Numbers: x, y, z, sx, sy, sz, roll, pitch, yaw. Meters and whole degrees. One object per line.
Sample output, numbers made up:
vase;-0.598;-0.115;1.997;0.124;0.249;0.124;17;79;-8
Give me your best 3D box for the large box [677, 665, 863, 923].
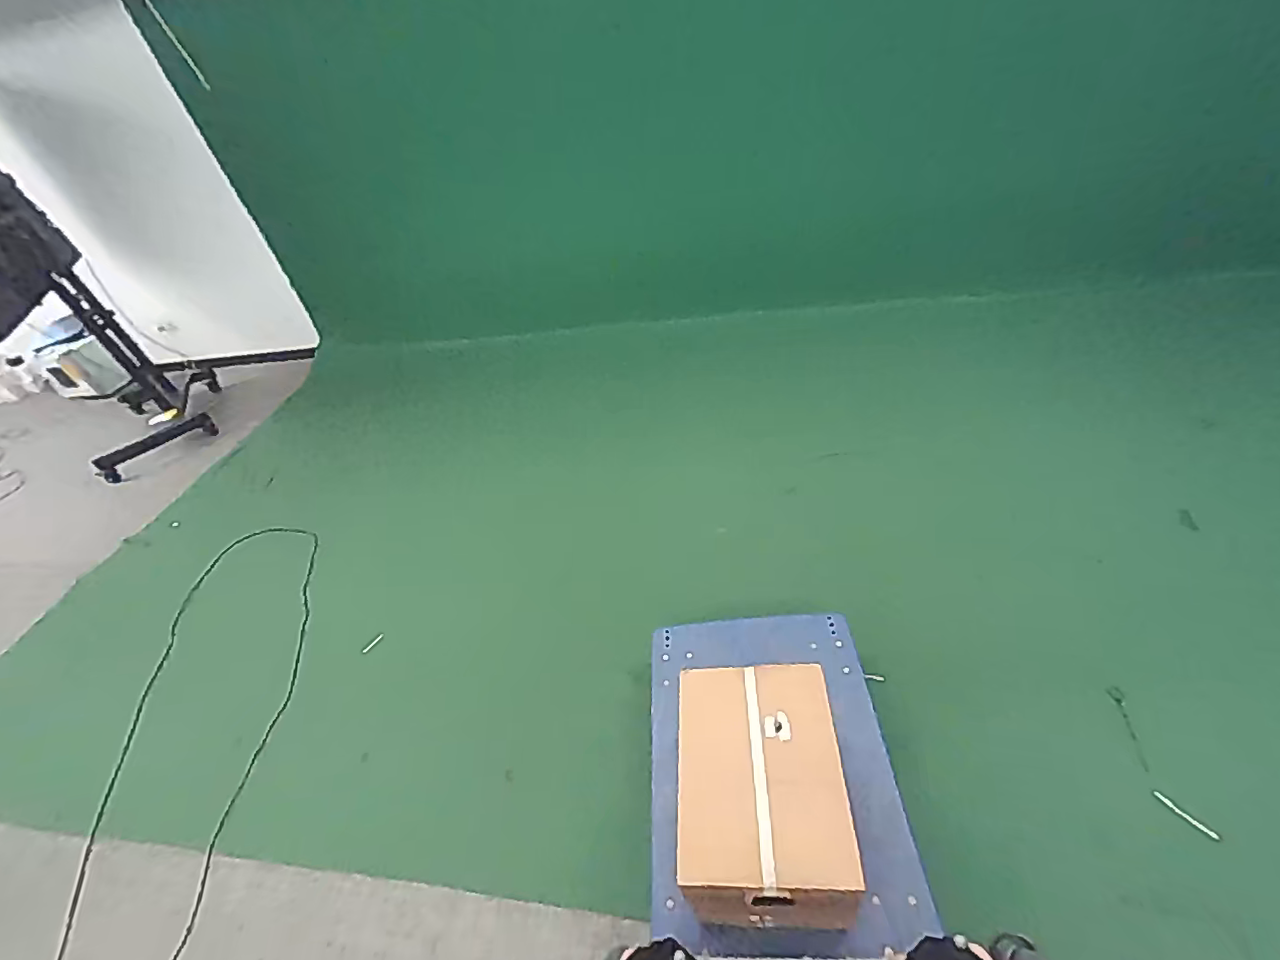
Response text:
large box;0.258;0.662;1.152;0.320;0.320;0.408;-5;41;10
